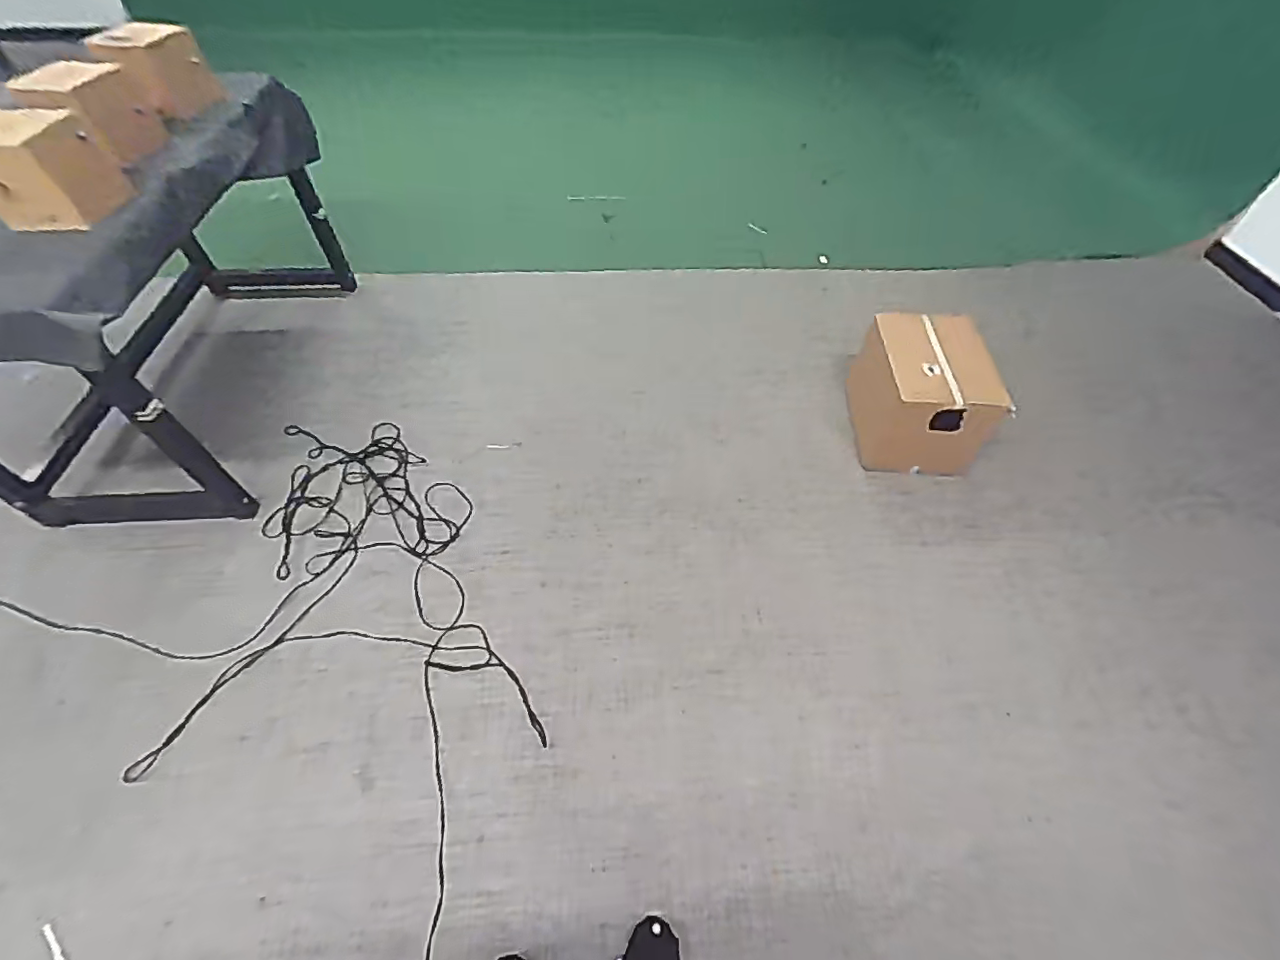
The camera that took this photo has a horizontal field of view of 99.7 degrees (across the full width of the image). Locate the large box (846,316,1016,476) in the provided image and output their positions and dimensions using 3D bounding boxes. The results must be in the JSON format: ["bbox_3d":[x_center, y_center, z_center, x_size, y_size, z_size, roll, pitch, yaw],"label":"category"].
[{"bbox_3d":[0.888,-0.267,1.722,0.320,0.320,0.408,3,54,2],"label":"large box"}]

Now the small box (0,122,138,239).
[{"bbox_3d":[-1.228,-0.623,1.134,0.168,0.176,0.179,-2,52,0],"label":"small box"}]

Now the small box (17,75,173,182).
[{"bbox_3d":[-1.298,-0.851,1.310,0.168,0.176,0.179,5,54,5],"label":"small box"}]
